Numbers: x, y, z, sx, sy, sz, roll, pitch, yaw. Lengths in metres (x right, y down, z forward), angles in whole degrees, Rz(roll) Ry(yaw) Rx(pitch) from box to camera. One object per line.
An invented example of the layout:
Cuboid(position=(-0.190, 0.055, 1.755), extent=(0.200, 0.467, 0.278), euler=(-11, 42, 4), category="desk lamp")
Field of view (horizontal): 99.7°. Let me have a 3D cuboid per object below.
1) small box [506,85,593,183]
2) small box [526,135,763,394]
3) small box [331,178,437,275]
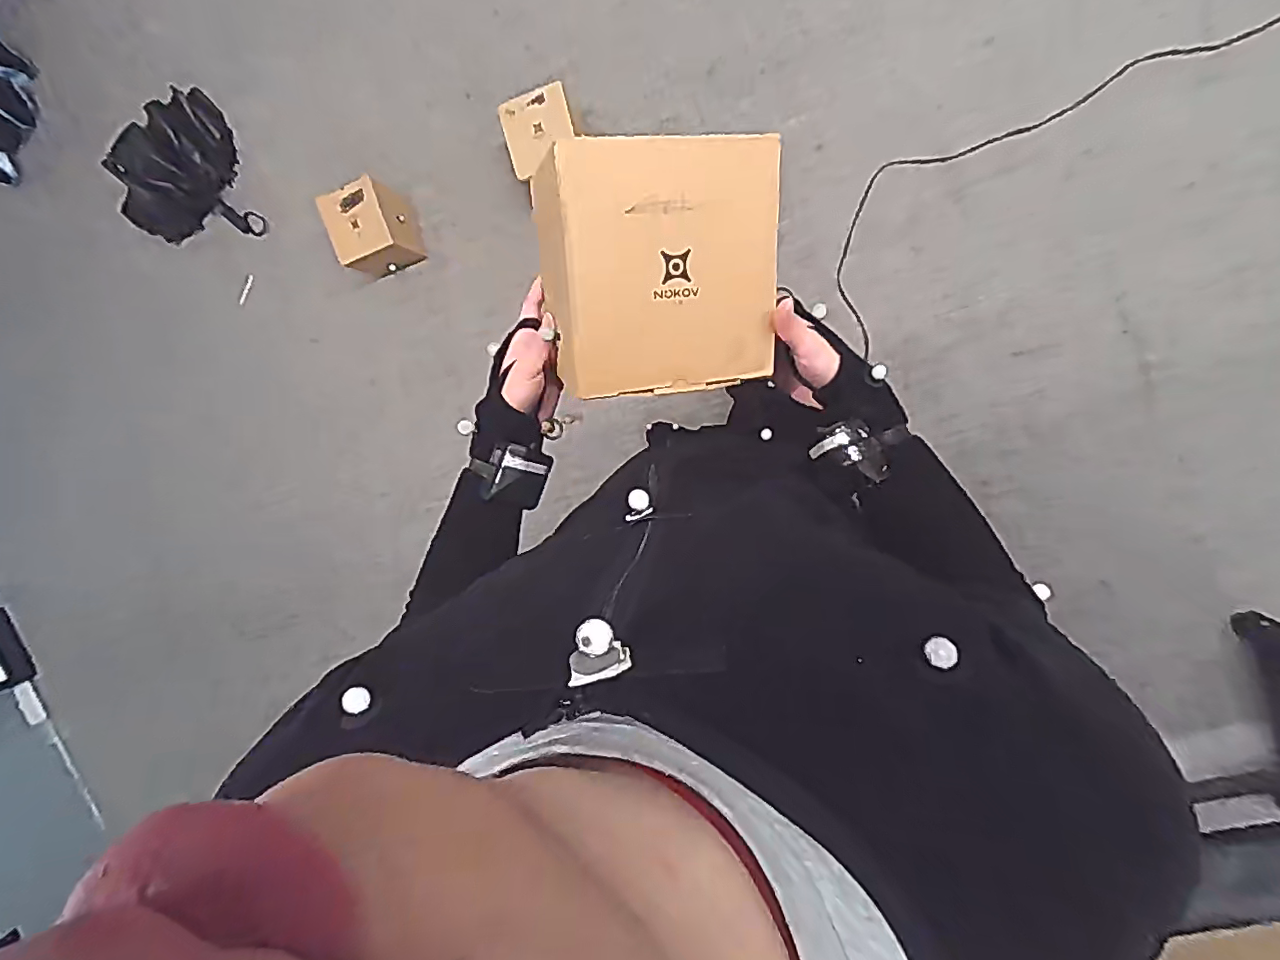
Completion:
Cuboid(position=(-0.209, -0.839, 1.367), extent=(0.168, 0.176, 0.179), euler=(-13, 99, 13), category="small box")
Cuboid(position=(-0.003, -0.187, 0.483), extent=(0.168, 0.176, 0.179), euler=(-11, 111, -13), category="small box")
Cuboid(position=(-0.695, -0.686, 1.485), extent=(0.168, 0.176, 0.179), euler=(-16, 99, 13), category="small box")
